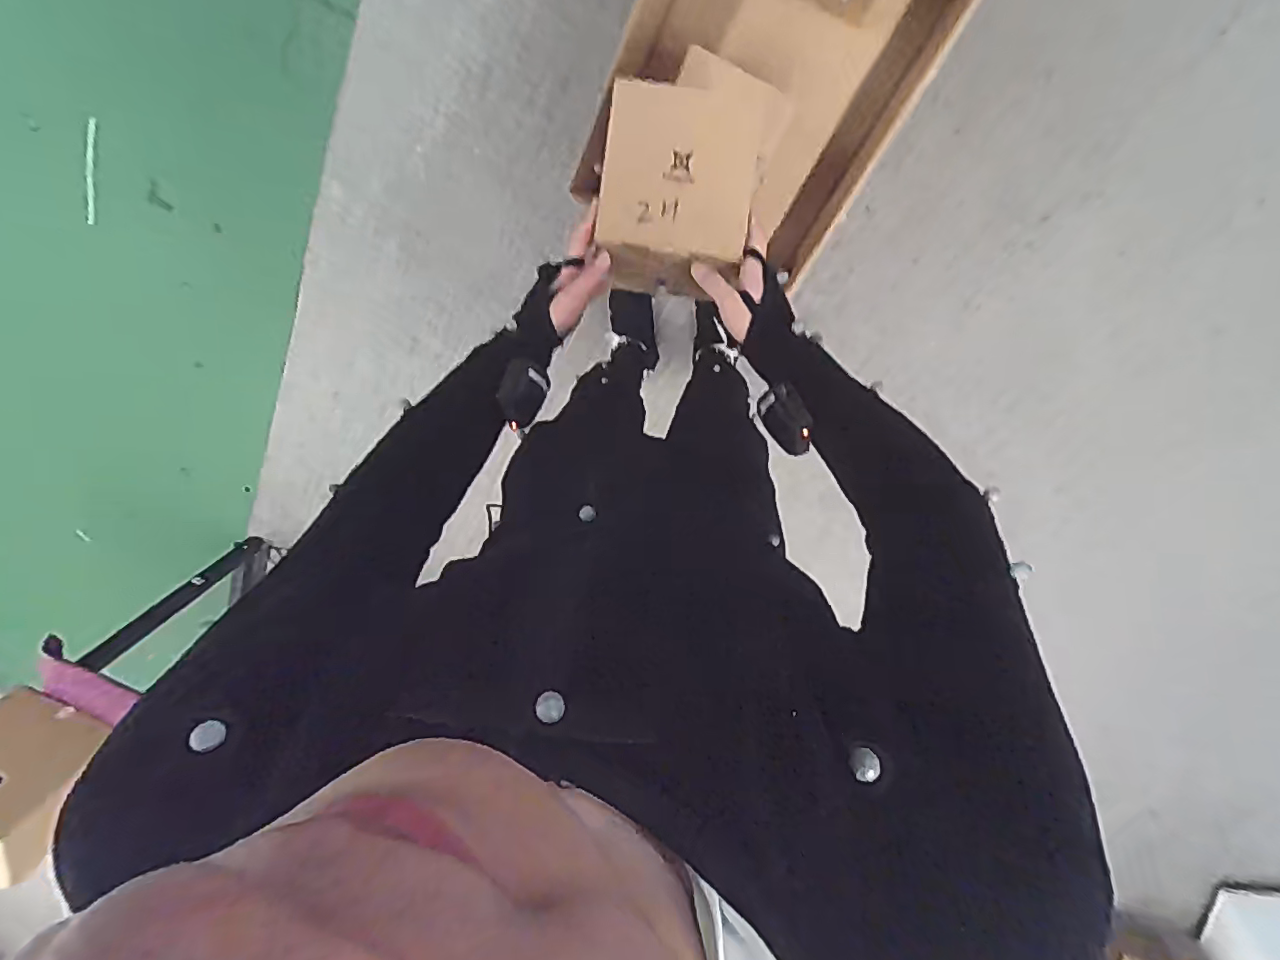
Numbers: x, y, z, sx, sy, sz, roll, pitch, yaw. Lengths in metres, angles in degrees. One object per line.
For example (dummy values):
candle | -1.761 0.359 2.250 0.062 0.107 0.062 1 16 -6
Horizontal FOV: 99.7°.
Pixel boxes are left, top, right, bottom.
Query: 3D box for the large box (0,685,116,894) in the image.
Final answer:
large box | -1.781 0.871 1.531 0.320 0.320 0.408 31 119 -8

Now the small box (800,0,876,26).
small box | 0.267 -0.733 0.696 0.179 0.176 0.168 25 118 -4

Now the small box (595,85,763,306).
small box | 0.041 -0.331 0.662 0.168 0.176 0.179 7 93 0
